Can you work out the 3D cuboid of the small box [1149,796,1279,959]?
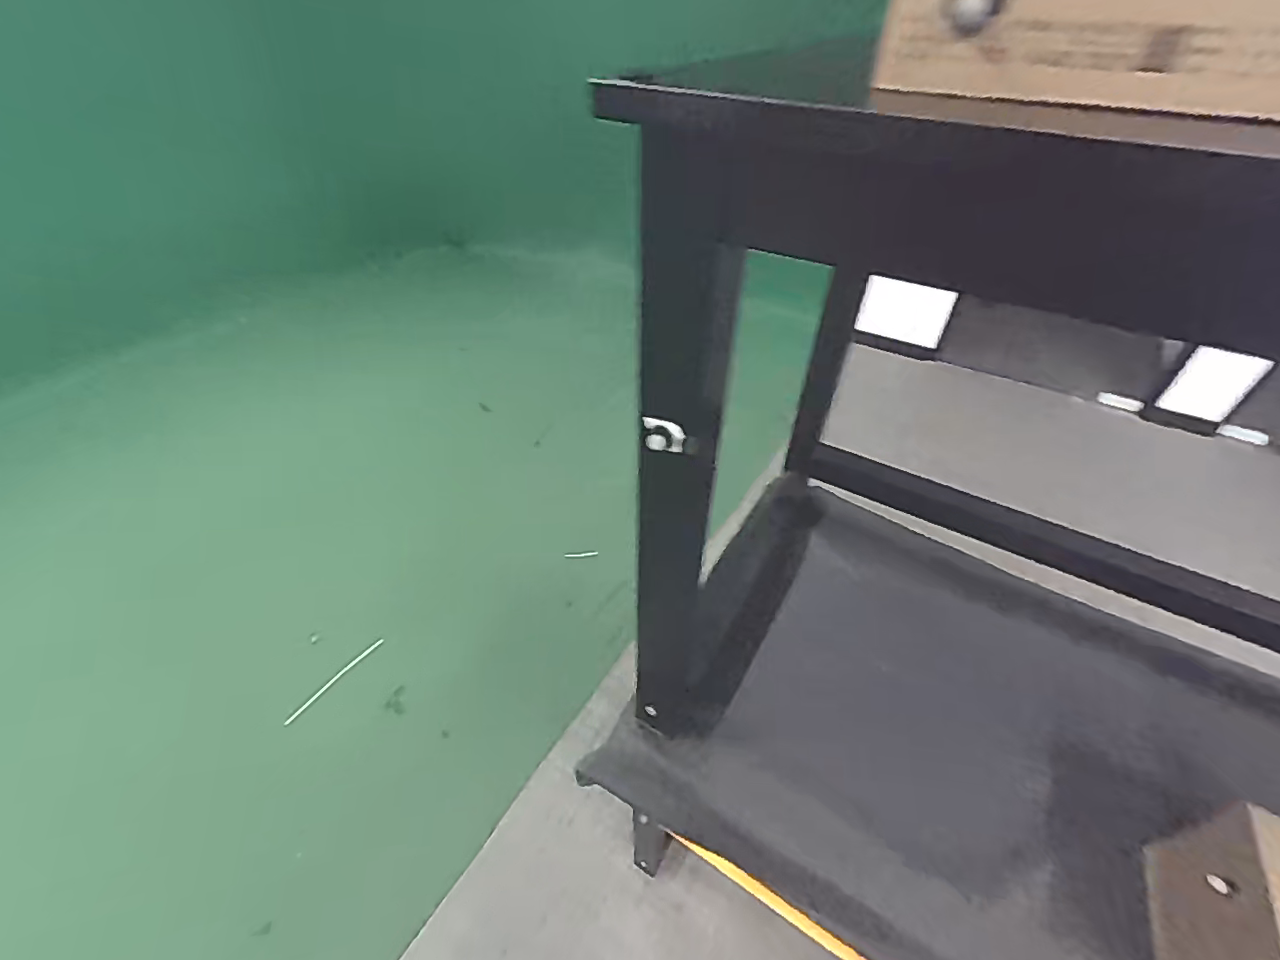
[{"bbox_3d":[0.648,0.462,0.527,0.168,0.176,0.179,21,45,22],"label":"small box"}]

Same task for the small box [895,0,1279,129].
[{"bbox_3d":[0.231,-0.270,0.240,0.168,0.176,0.179,20,45,19],"label":"small box"}]
